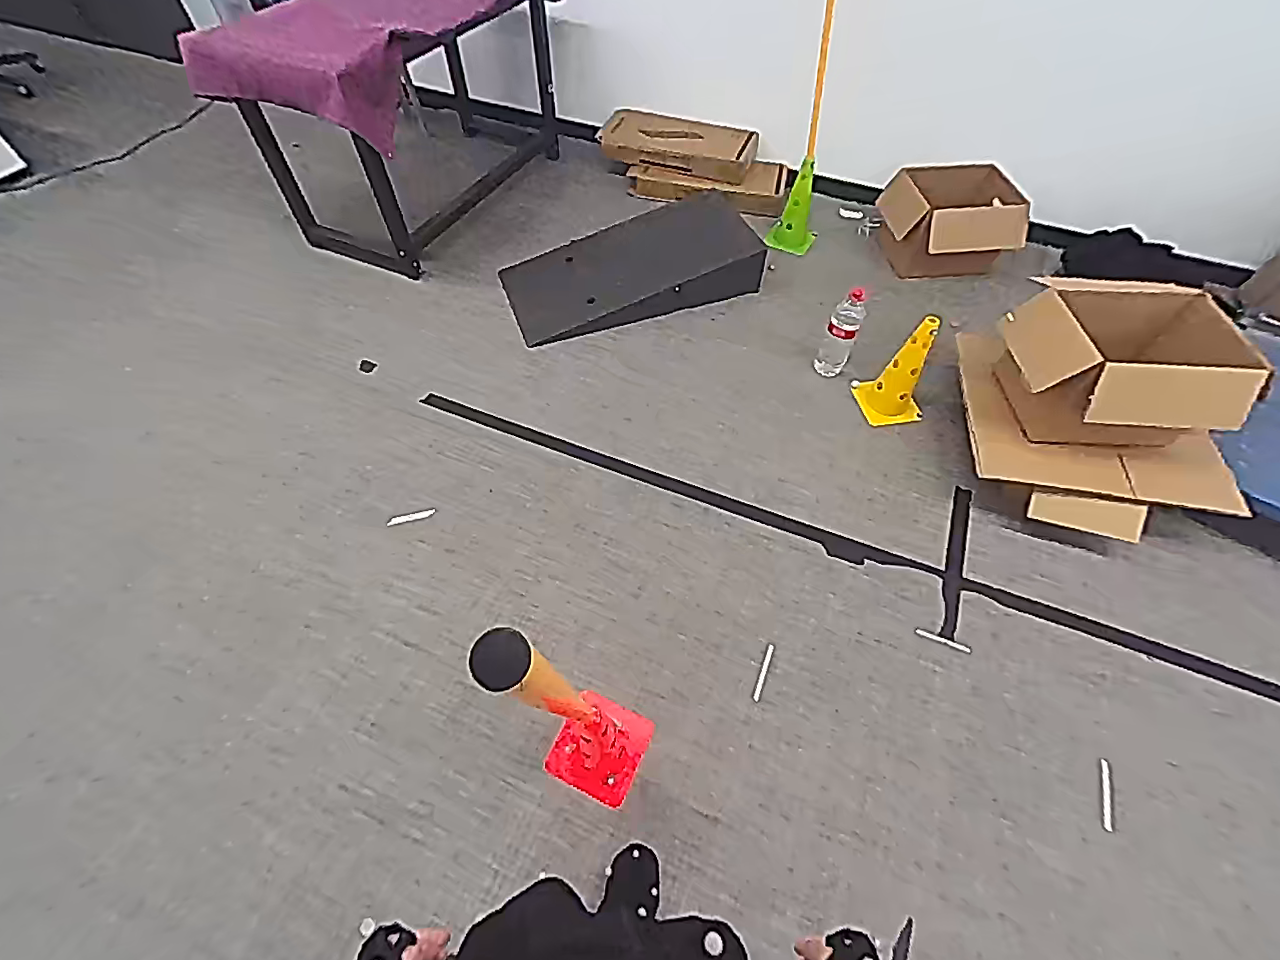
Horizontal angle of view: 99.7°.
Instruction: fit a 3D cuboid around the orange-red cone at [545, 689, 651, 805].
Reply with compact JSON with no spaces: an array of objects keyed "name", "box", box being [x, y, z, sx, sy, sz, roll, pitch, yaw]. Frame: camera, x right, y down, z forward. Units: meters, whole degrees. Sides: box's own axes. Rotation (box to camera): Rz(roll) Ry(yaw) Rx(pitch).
[{"name":"orange-red cone","box":[-0.091,0.516,1.112,0.198,0.360,0.199,23,58,13]}]
